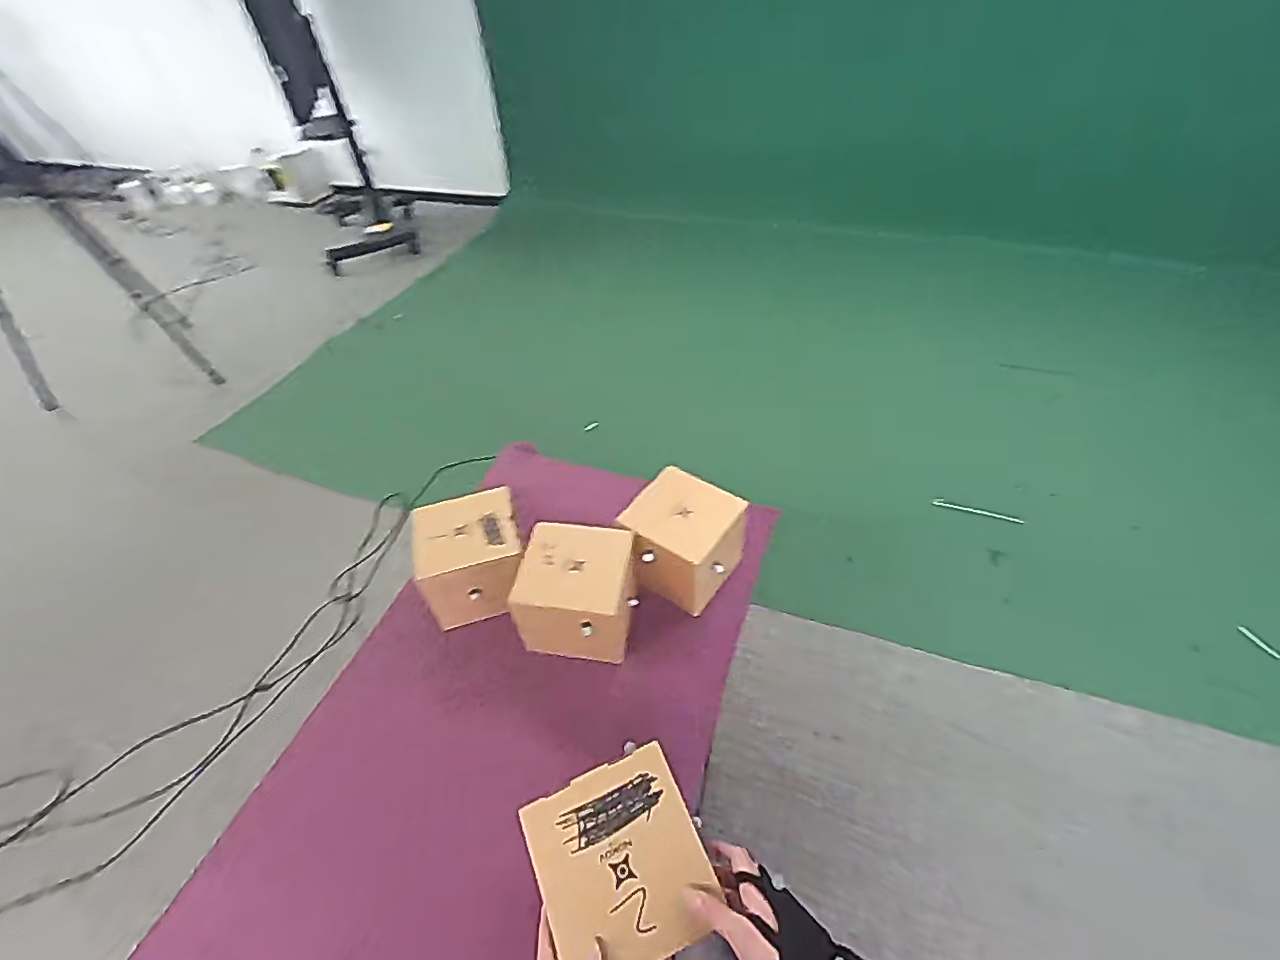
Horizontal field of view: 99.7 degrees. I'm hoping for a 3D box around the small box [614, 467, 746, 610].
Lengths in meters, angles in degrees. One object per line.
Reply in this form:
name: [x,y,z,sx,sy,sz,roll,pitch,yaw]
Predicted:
small box: [0.076,0.113,1.002,0.179,0.176,0.168,27,54,28]
